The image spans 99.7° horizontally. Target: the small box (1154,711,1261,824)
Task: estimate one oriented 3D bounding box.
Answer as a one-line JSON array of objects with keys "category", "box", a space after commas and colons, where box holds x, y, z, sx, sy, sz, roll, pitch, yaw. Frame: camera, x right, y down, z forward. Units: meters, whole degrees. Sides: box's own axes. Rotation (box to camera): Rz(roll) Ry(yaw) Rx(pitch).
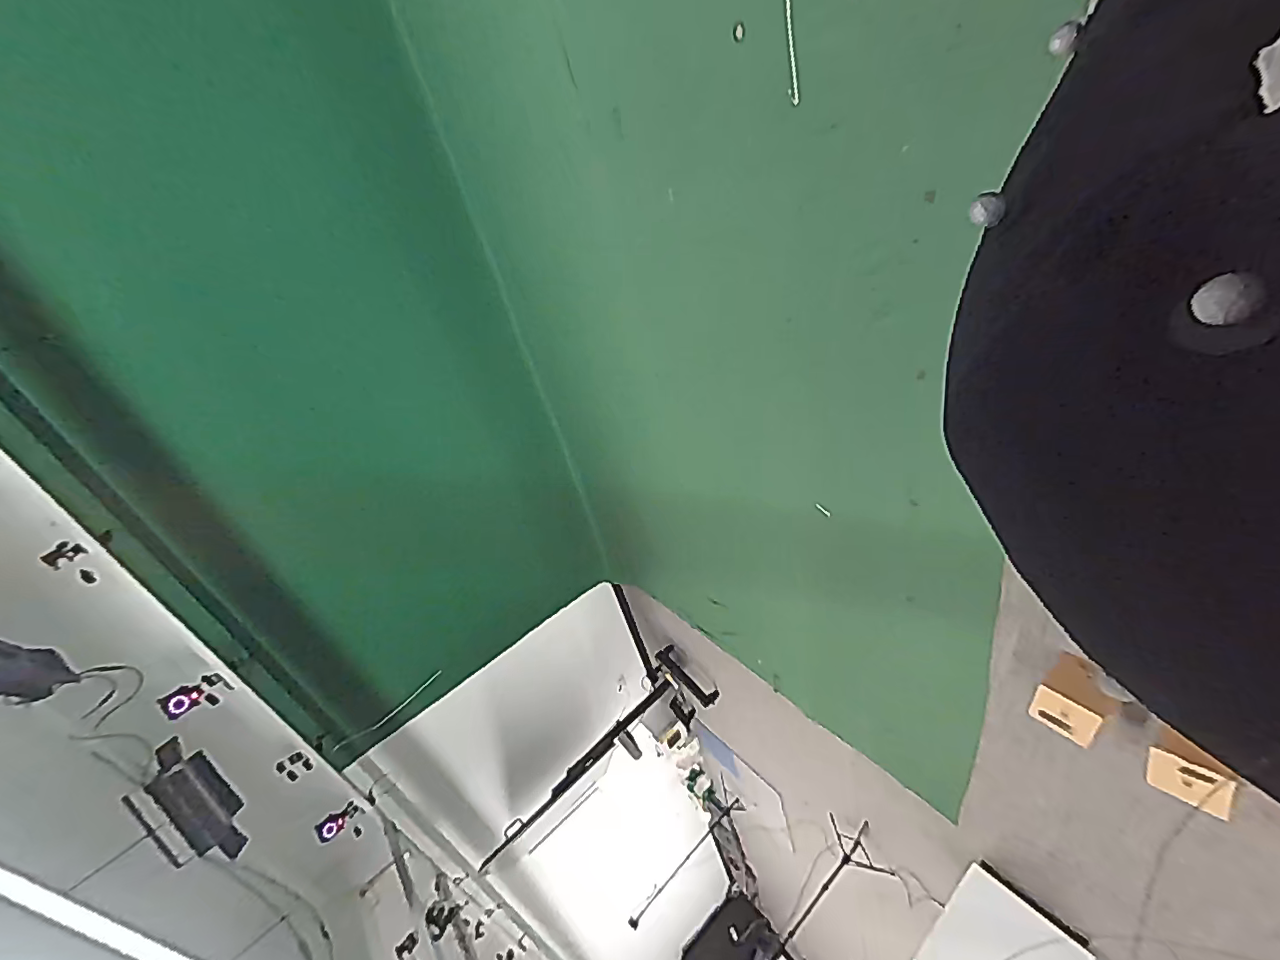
[{"category": "small box", "box": [1.546, 0.774, 1.475, 0.168, 0.176, 0.179, 18, 136, 55]}]
